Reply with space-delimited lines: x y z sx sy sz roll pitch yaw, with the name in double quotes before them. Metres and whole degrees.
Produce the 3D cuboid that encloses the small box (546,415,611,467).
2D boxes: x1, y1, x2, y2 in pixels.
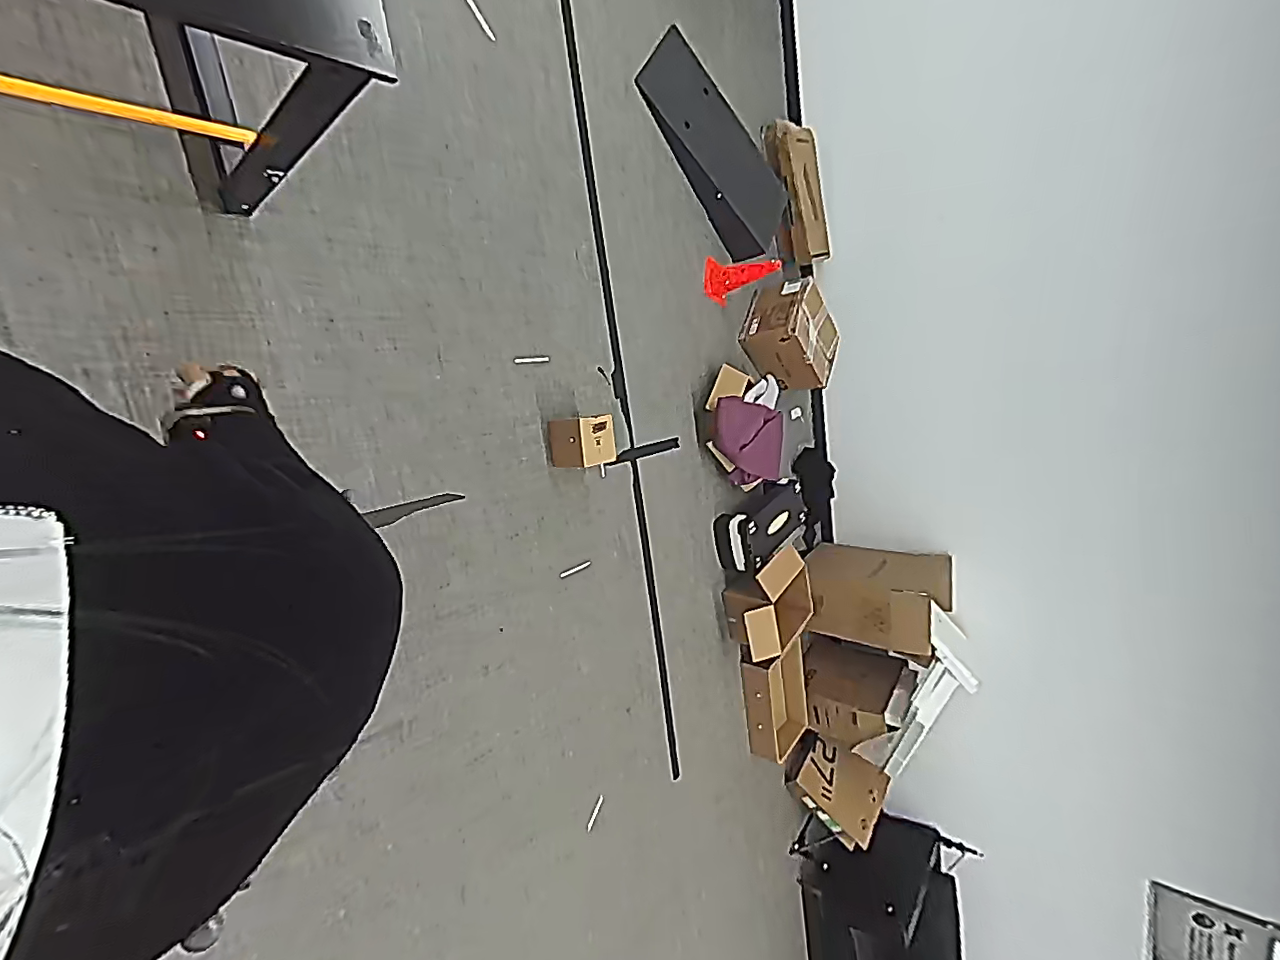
"small box" -0.231 -0.143 1.985 0.168 0.176 0.179 -15 103 -48
